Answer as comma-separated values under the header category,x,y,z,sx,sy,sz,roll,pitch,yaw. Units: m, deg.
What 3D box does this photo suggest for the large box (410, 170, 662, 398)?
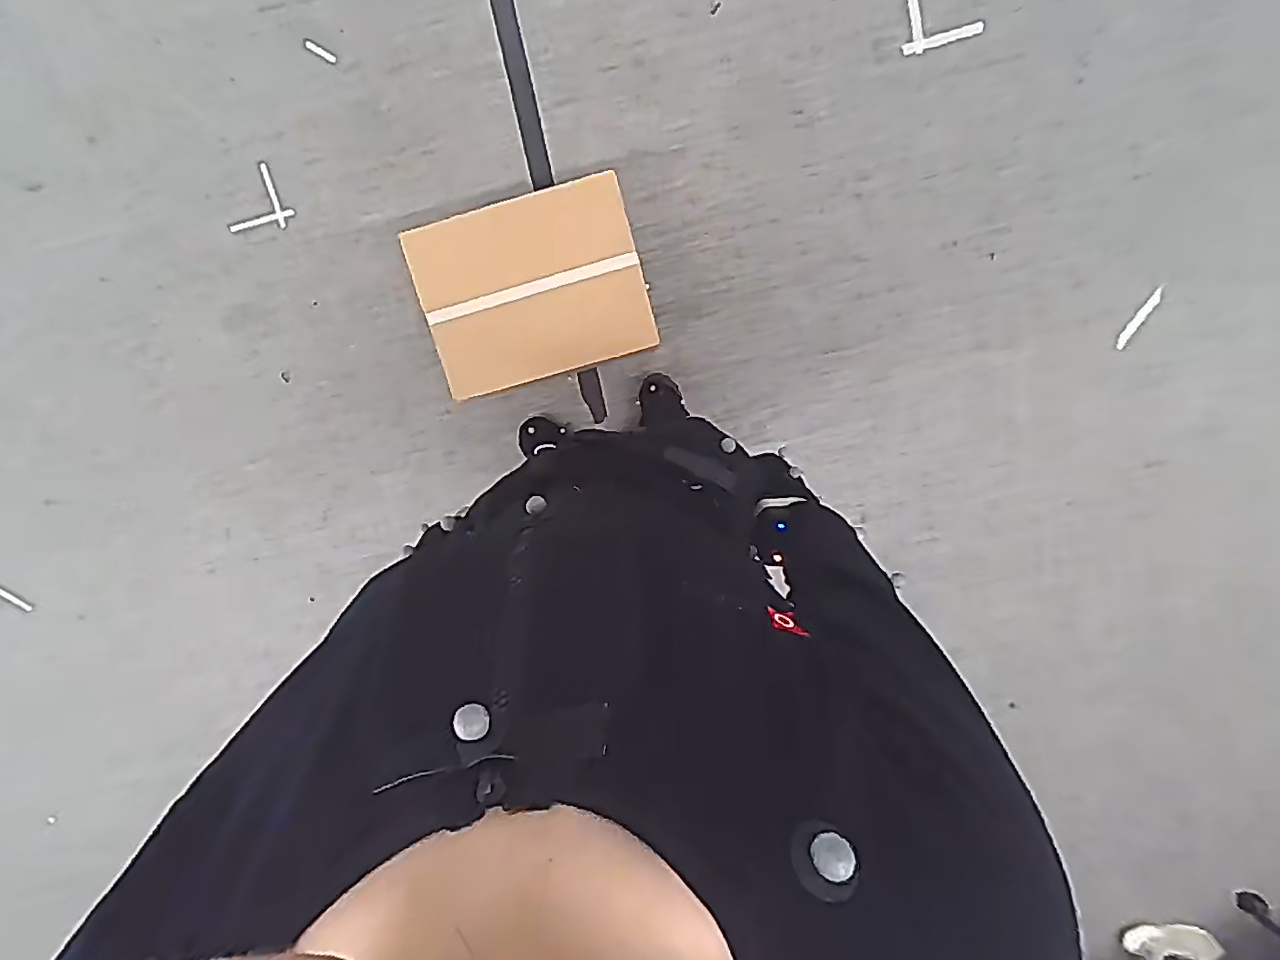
category,x,y,z,sx,sy,sz,roll,pitch,yaw
large box,-0.189,-0.381,1.140,0.408,0.320,0.320,-15,102,3
